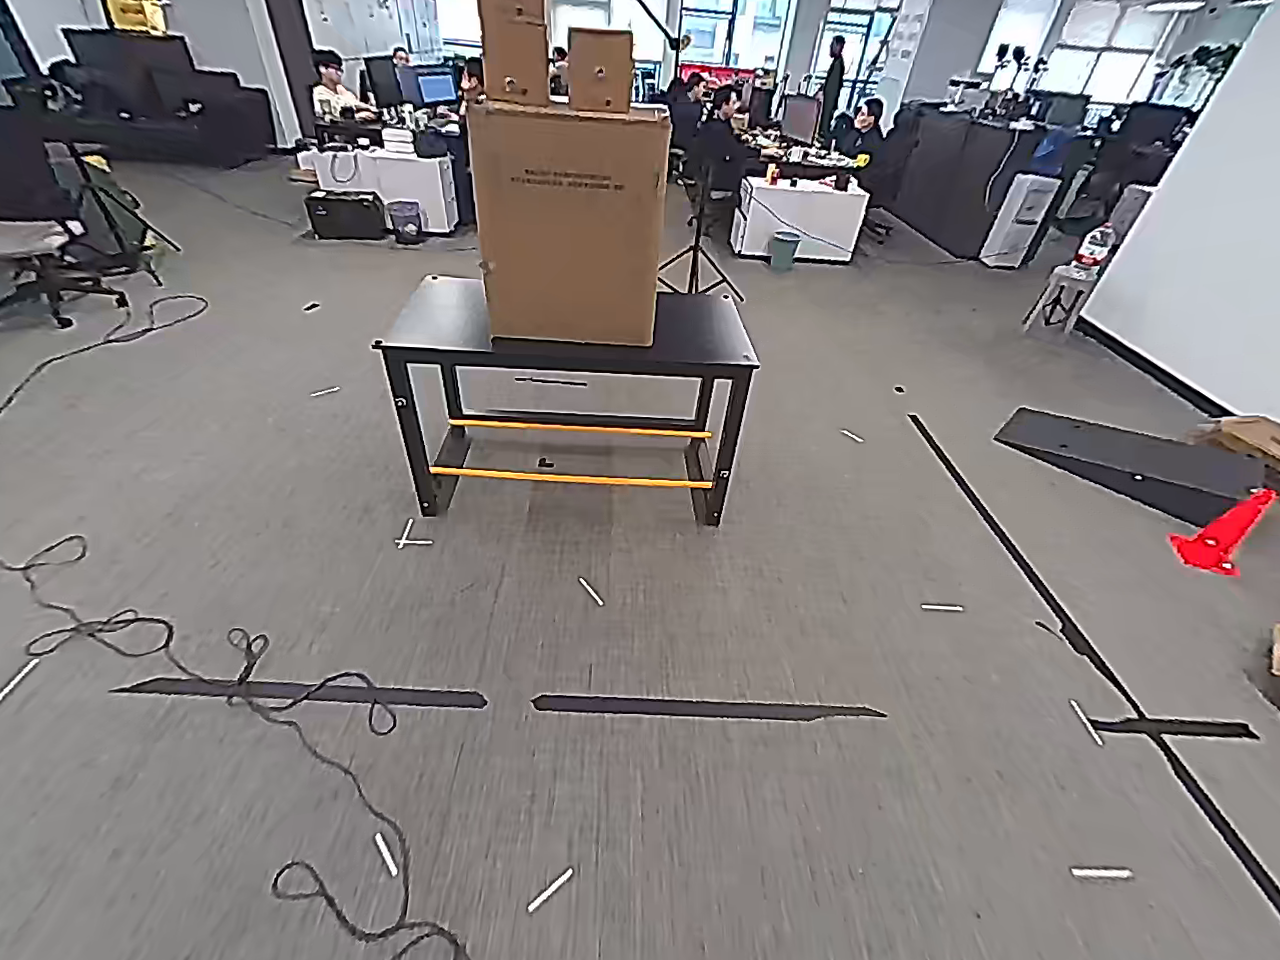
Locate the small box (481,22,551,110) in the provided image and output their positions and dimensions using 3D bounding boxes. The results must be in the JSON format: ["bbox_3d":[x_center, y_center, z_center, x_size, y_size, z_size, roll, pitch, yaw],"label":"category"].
[{"bbox_3d":[-0.325,-1.109,1.447,0.168,0.176,0.179,-1,41,-8],"label":"small box"}]

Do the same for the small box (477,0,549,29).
[{"bbox_3d":[-0.314,-1.235,1.341,0.168,0.176,0.179,1,40,-6],"label":"small box"}]

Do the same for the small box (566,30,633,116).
[{"bbox_3d":[-0.109,-1.080,1.436,0.168,0.176,0.179,-1,41,-7],"label":"small box"}]
